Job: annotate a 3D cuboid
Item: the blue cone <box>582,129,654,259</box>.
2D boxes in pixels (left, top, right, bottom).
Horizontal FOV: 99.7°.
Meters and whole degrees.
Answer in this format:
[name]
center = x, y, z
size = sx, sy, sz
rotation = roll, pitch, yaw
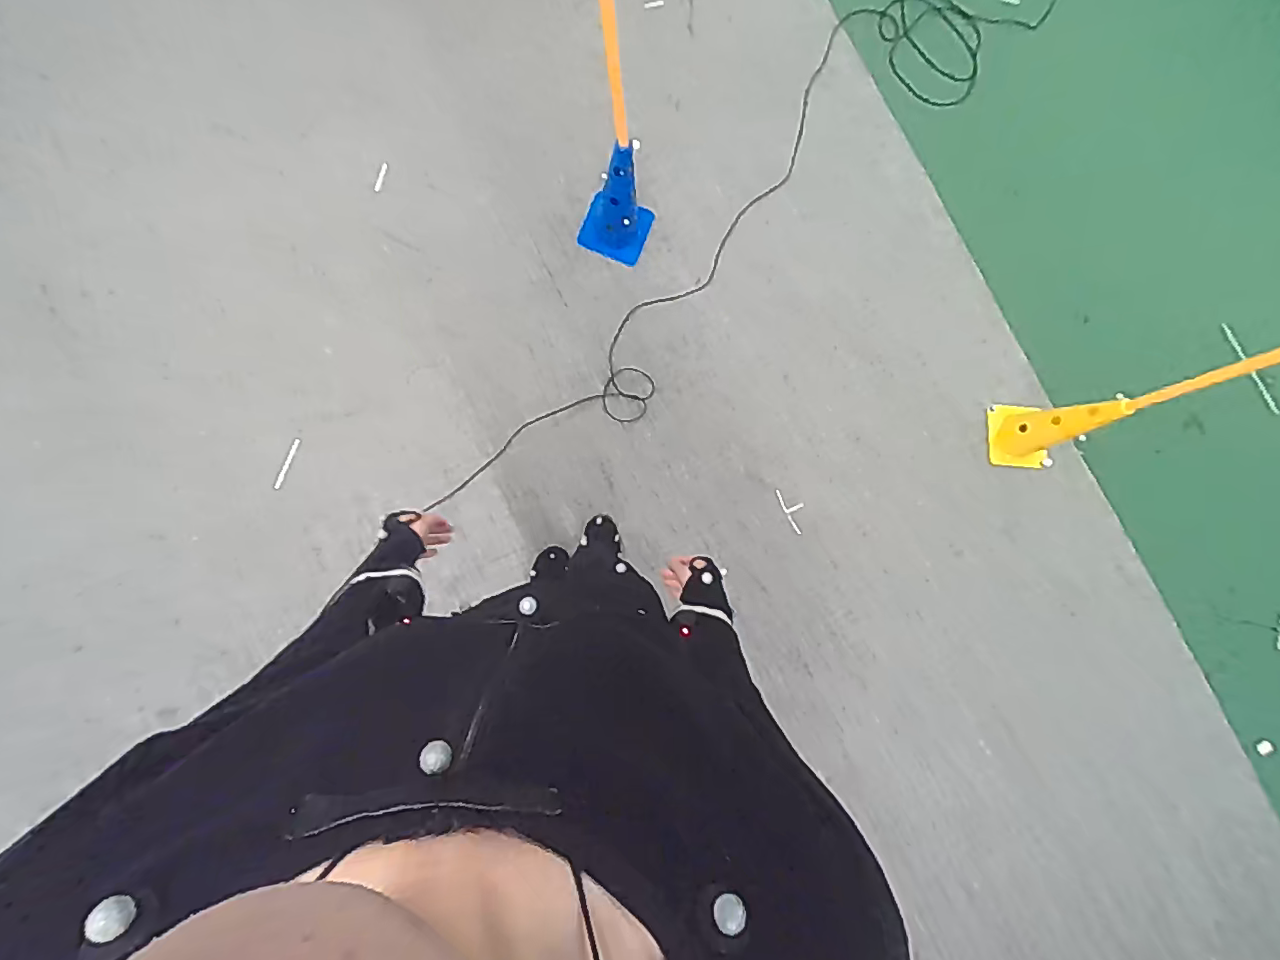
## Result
[blue cone]
center = -0.053, -0.798, 1.486
size = 0.193, 0.380, 0.192
rotation = 19, 81, -2
